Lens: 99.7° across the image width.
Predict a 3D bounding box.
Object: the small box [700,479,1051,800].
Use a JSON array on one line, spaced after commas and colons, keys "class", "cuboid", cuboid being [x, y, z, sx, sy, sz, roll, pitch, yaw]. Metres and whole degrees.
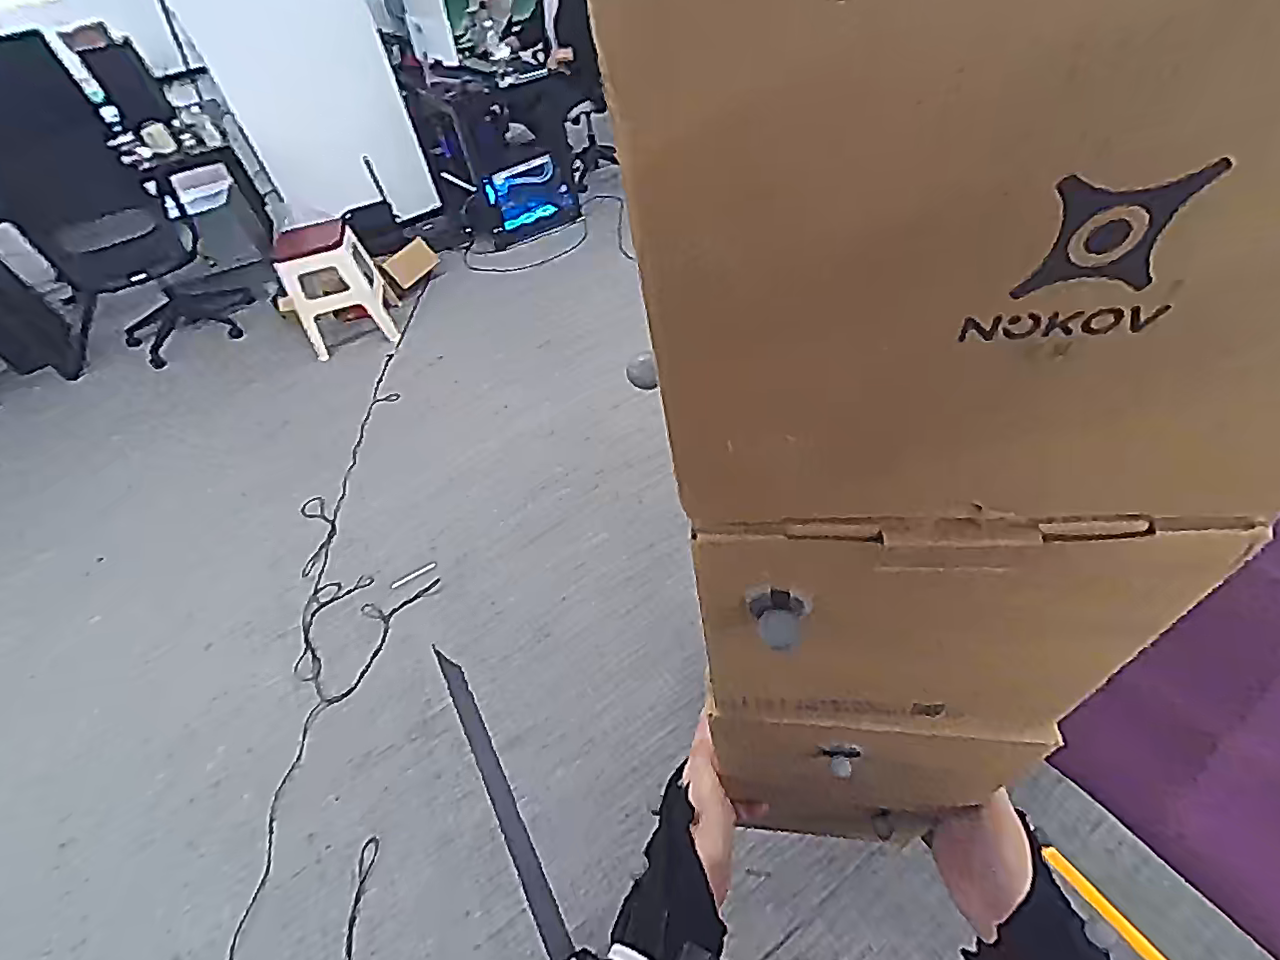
[{"class": "small box", "cuboid": [0.140, 0.116, 0.391, 0.179, 0.176, 0.168, 0, 49, 11]}]
